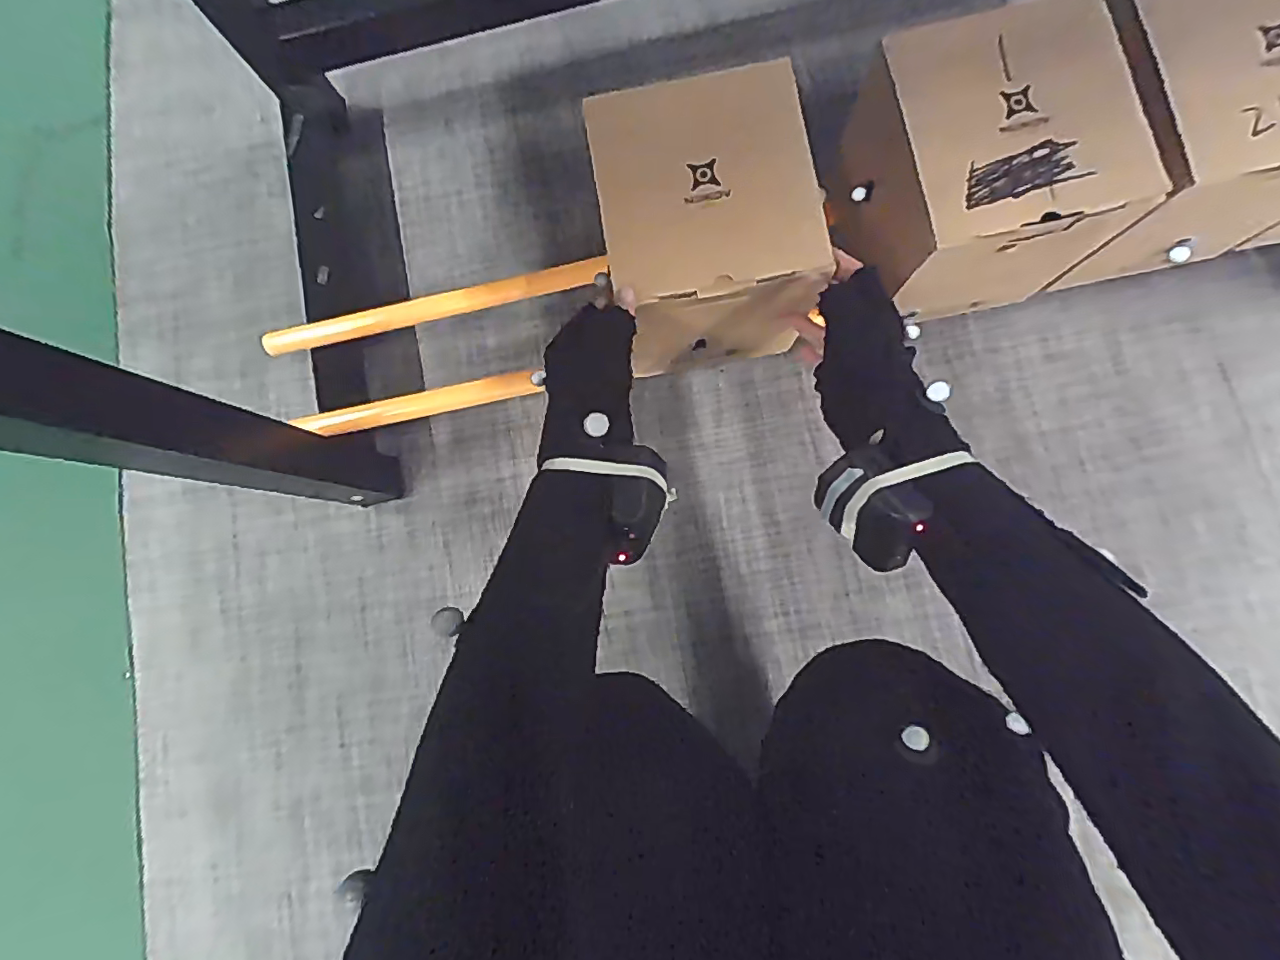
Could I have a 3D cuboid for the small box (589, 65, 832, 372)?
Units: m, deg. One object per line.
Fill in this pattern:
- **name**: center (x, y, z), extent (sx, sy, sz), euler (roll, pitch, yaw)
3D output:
- **small box**: center (0.054, -0.219, 0.494), extent (0.168, 0.176, 0.179), euler (-10, 82, 2)
